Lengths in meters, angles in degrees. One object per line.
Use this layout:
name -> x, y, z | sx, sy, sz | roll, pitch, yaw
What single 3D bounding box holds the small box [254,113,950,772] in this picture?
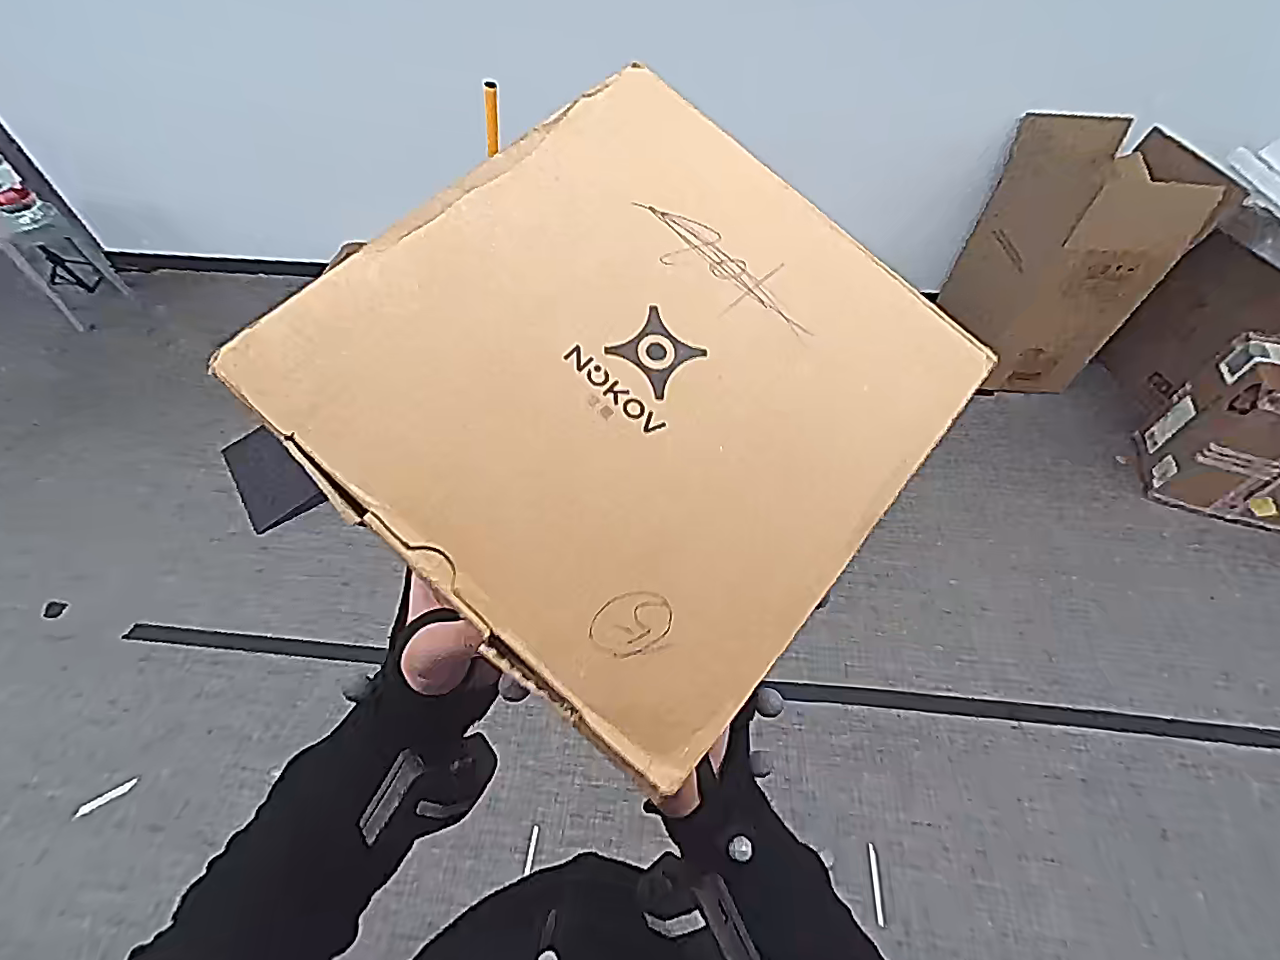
small box -> -0.012, -0.009, 0.254 | 0.168, 0.176, 0.179 | 42, 71, 4
